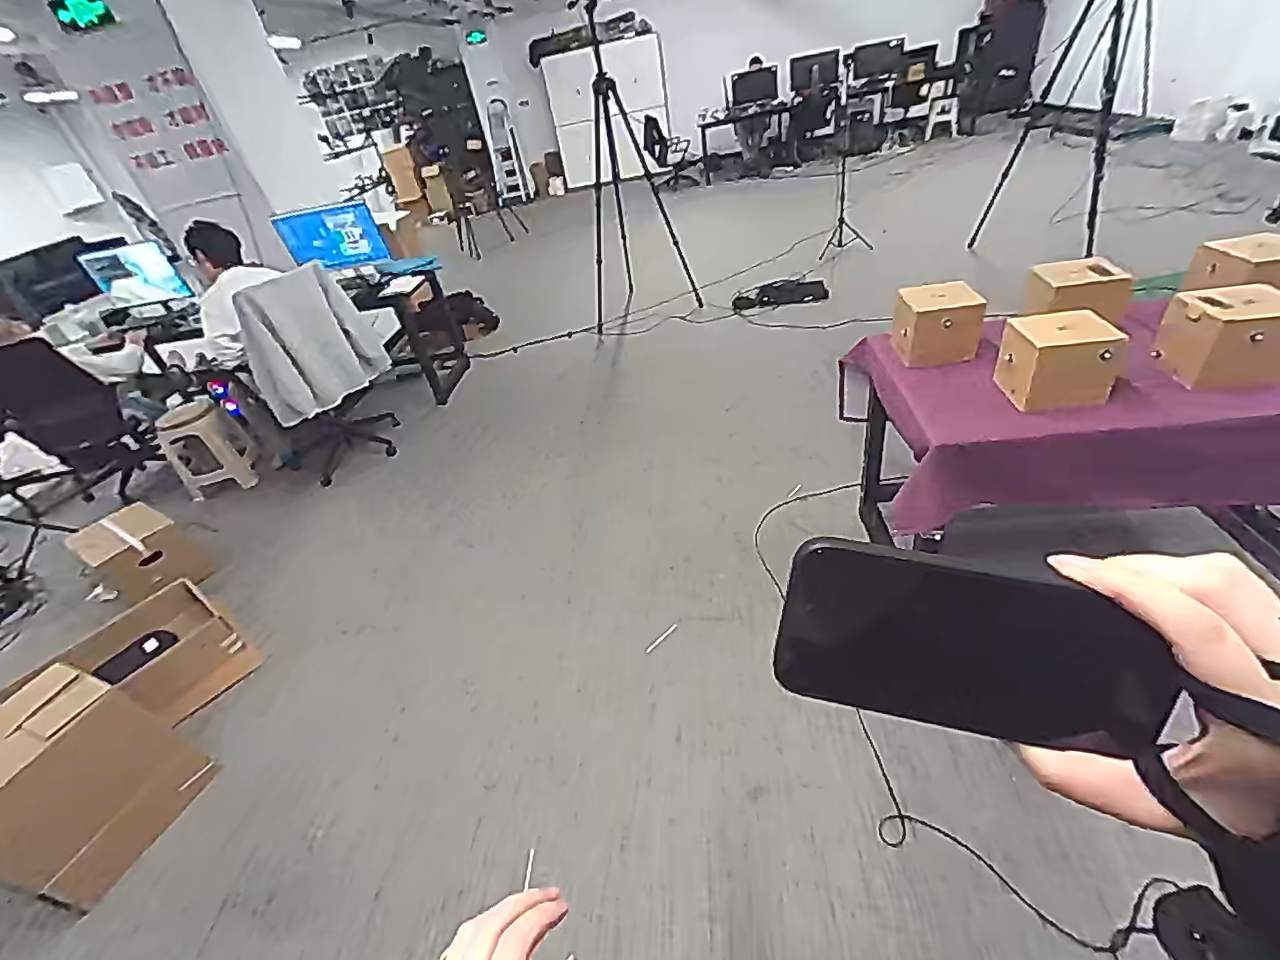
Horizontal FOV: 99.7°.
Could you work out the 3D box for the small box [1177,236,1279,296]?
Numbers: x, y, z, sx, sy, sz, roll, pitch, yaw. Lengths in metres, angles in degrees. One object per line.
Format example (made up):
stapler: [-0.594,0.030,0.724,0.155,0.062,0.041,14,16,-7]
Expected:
small box: [1.556,-0.512,1.399,0.168,0.176,0.179,-7,37,8]

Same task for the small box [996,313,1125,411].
small box: [0.963,-0.272,1.263,0.179,0.176,0.168,-4,37,10]

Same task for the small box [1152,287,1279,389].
small box: [1.310,-0.314,1.215,0.179,0.176,0.168,-3,38,12]
